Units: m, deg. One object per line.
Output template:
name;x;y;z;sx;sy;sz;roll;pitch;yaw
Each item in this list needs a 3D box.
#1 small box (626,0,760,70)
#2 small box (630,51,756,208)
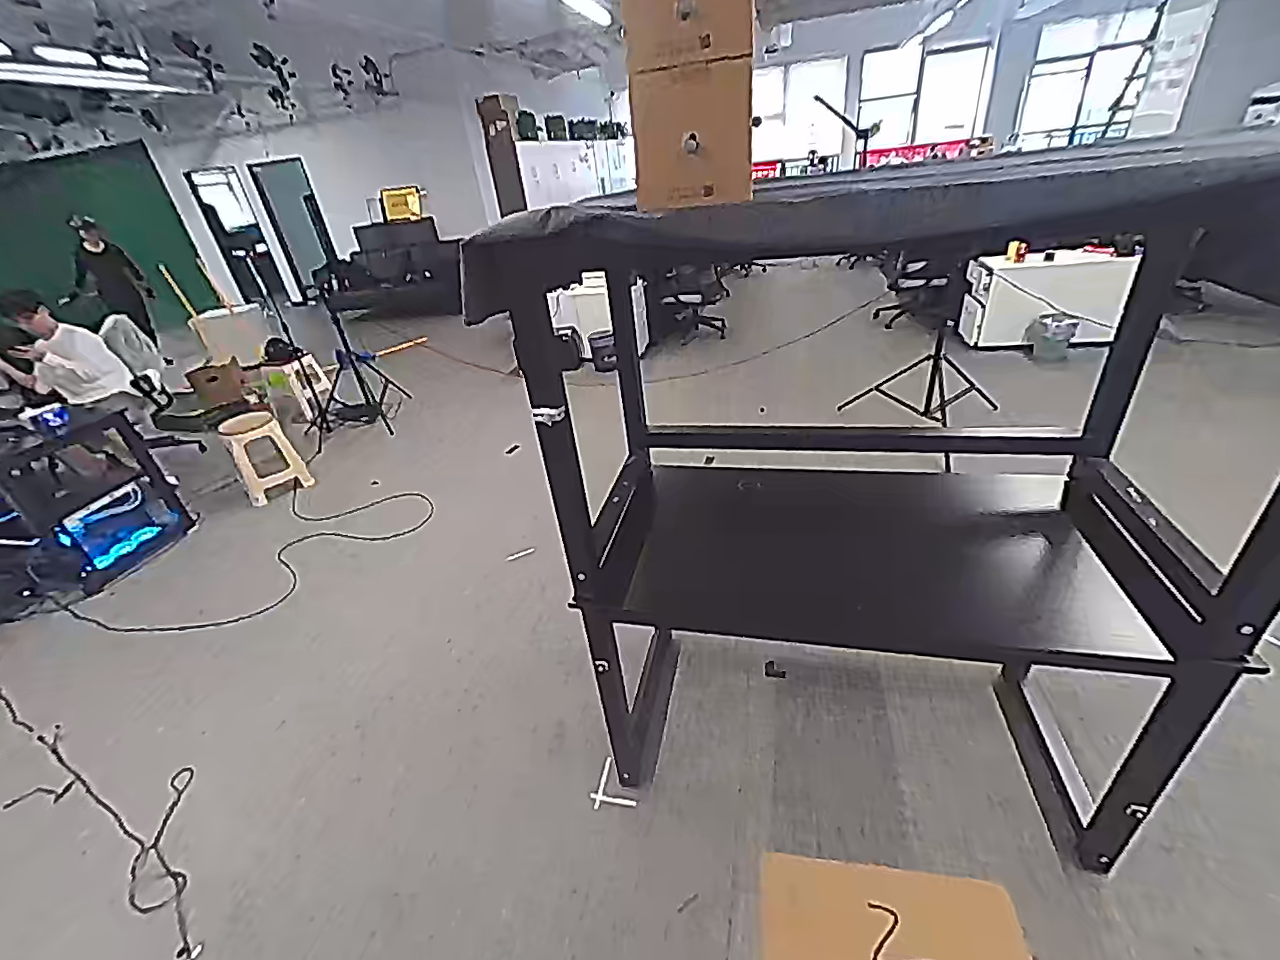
small box;0.074;-0.650;0.722;0.168;0.176;0.179;-1;30;12
small box;0.088;-0.506;0.802;0.168;0.176;0.179;0;31;11
